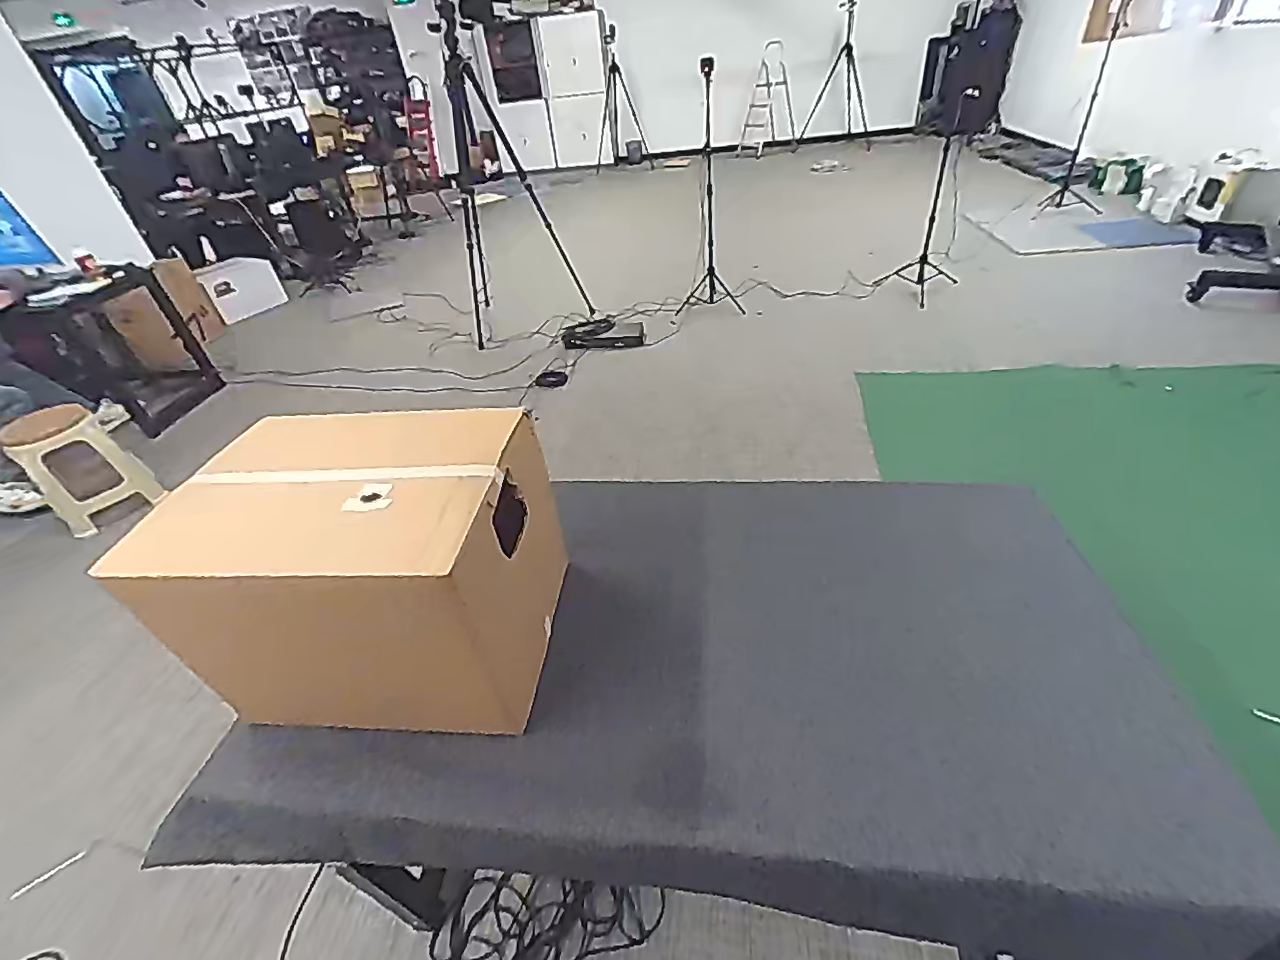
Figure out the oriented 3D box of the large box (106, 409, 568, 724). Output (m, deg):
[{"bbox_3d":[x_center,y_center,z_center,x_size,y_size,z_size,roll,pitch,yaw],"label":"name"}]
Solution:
[{"bbox_3d":[-0.341,0.115,0.750,0.408,0.320,0.320,-1,39,6],"label":"large box"}]
